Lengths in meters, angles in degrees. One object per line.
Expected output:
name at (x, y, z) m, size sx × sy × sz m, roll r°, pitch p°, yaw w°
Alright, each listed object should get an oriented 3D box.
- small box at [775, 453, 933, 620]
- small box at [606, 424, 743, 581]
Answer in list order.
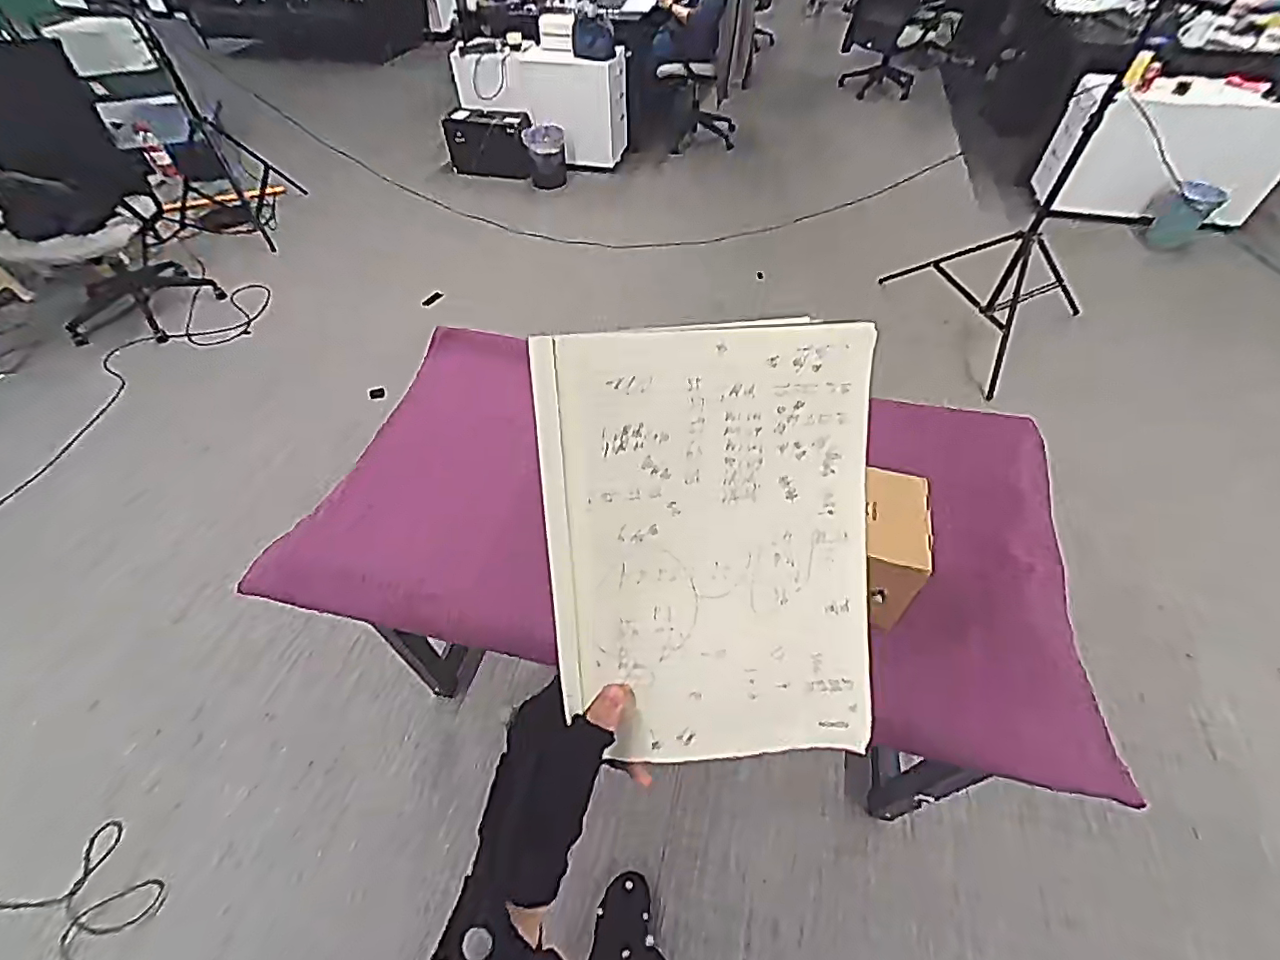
small box at (0.312, 0.087, 0.808) m, size 0.179 × 0.176 × 0.168 m, roll 12°, pitch 49°, yaw 13°
small box at (0.054, 0.039, 0.851) m, size 0.179 × 0.176 × 0.168 m, roll 11°, pitch 51°, yaw 9°
